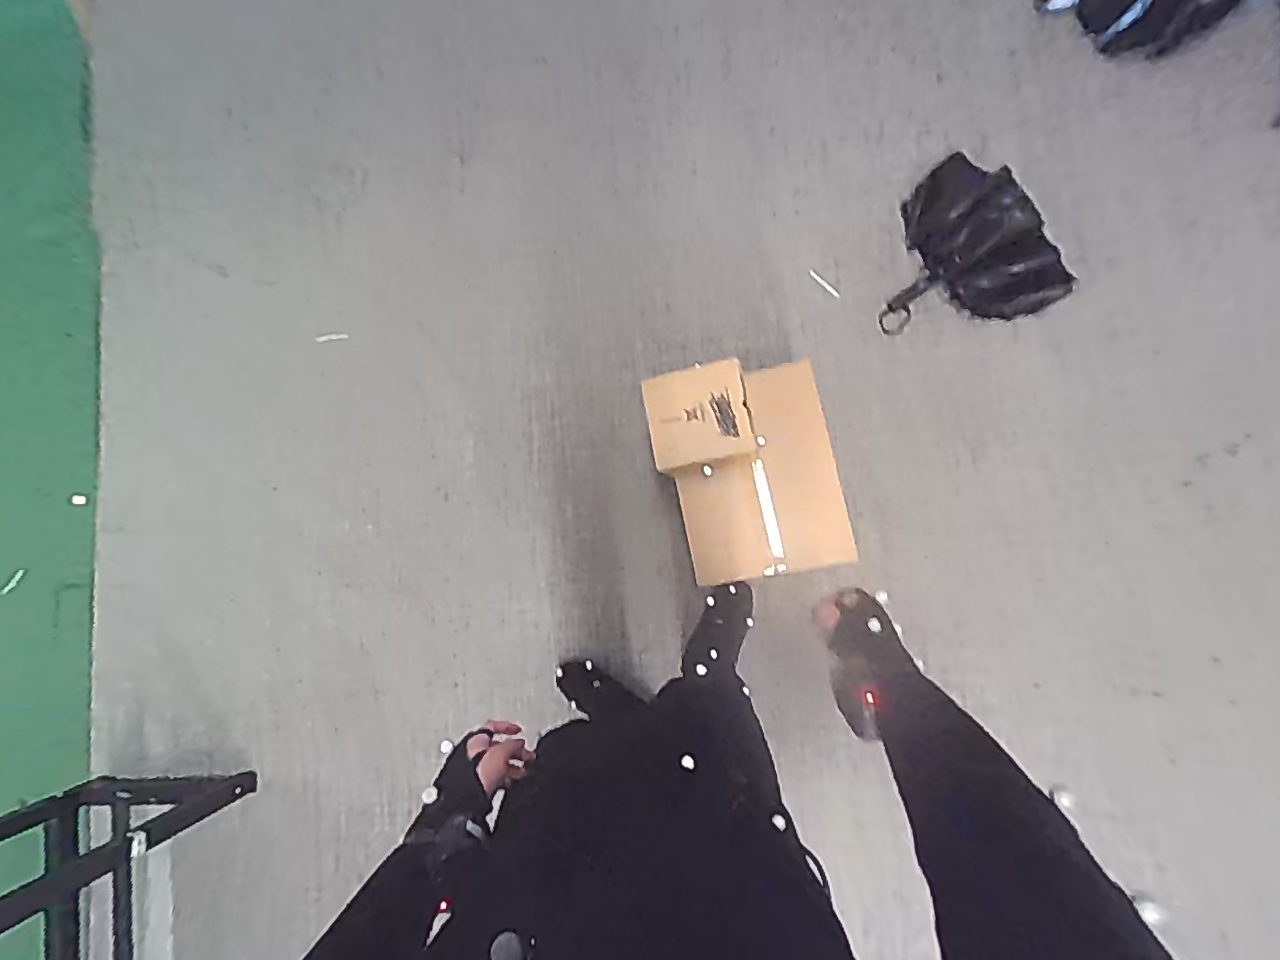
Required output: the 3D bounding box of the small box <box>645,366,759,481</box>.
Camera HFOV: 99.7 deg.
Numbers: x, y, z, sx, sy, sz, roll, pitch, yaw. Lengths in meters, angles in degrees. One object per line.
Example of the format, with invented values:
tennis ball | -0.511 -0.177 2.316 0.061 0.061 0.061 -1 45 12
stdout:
small box | 0.123 -0.096 1.008 0.179 0.176 0.168 -12 83 15
